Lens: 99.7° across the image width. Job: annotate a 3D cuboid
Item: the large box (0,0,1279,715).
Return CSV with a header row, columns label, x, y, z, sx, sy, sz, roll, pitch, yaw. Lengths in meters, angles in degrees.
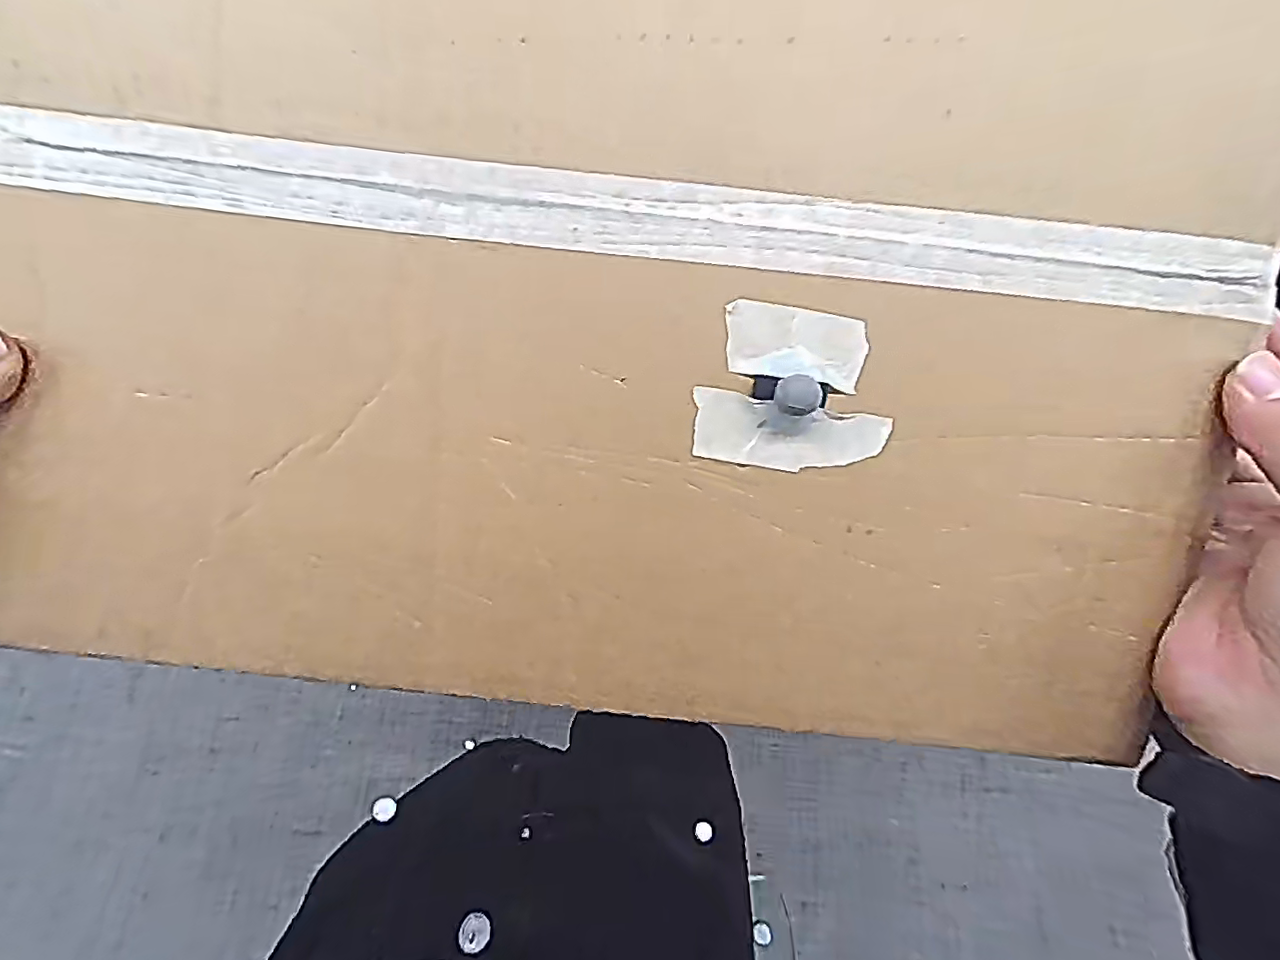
label,x,y,z,sx,sy,sz,roll,pitch,yaw
large box,-0.014,-0.103,0.317,0.408,0.320,0.320,6,100,-2
